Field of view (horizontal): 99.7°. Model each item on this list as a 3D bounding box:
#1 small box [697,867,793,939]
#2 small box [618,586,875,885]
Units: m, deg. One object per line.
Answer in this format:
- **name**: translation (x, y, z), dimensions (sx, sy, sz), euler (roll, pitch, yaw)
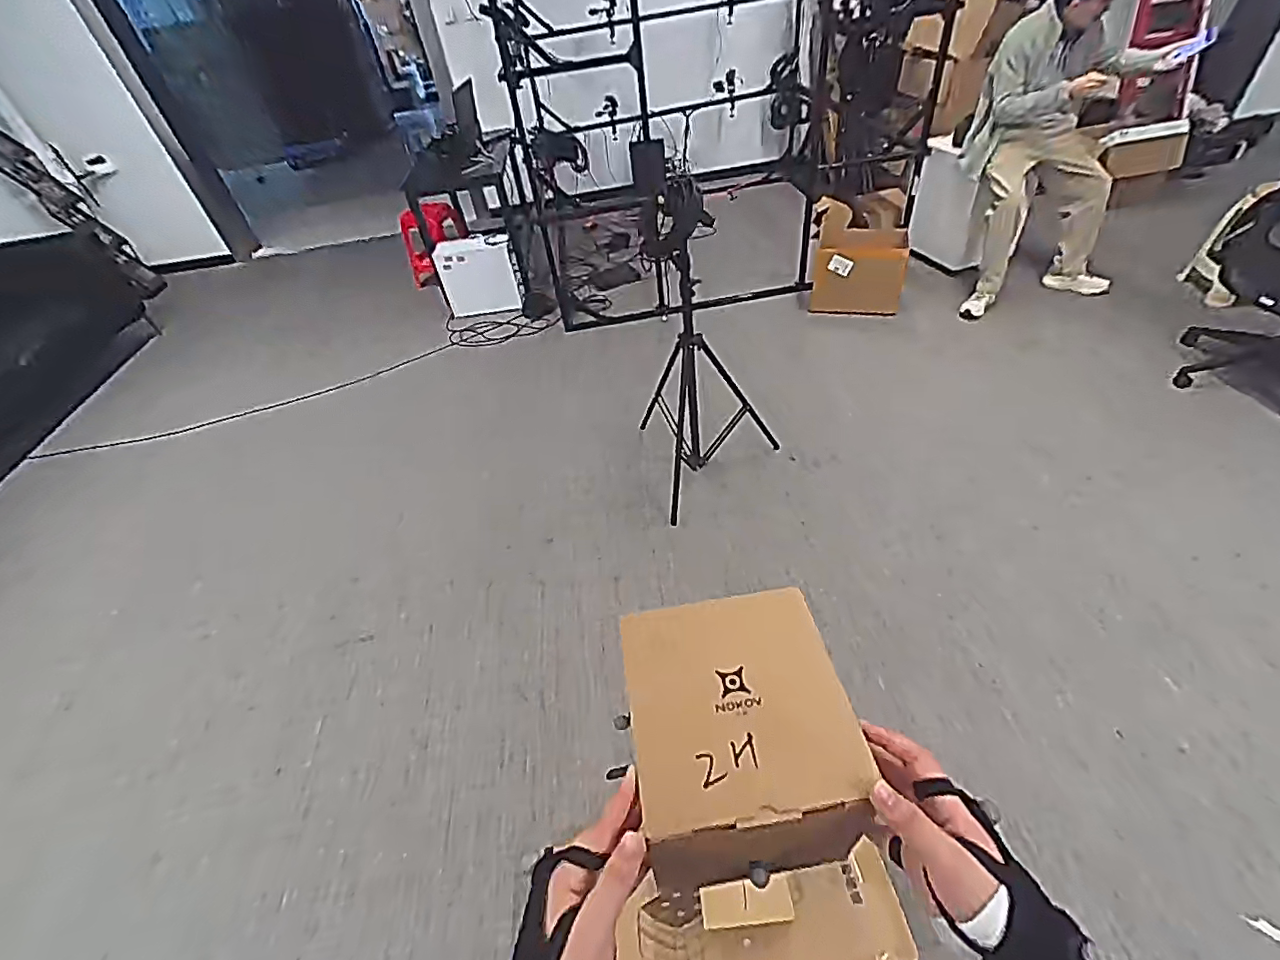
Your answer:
- **small box**: translation (0.197, 0.788, 1.081), dimensions (0.168, 0.176, 0.179), euler (-8, 44, 2)
- **small box**: translation (0.074, 0.222, 0.475), dimensions (0.168, 0.176, 0.179), euler (-9, 43, -2)
